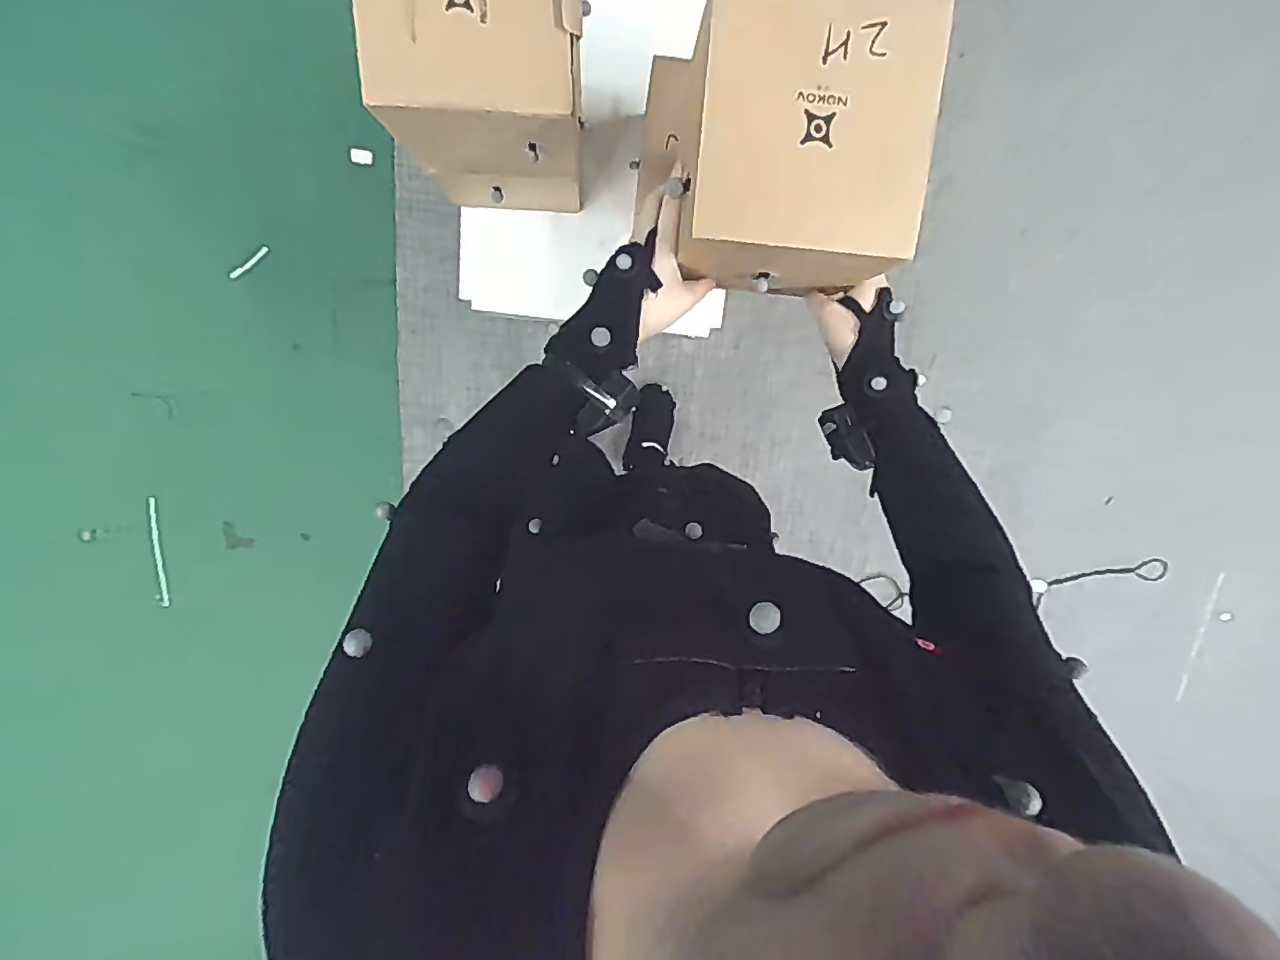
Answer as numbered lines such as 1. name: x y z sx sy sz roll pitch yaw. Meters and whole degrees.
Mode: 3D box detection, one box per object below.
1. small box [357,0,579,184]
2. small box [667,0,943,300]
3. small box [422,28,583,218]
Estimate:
1. small box: -0.148 -0.399 0.518 0.179 0.176 0.168 -1 103 -5
2. small box: 0.118 -0.259 0.461 0.168 0.176 0.179 4 99 -5
3. small box: -0.163 -0.436 0.676 0.179 0.176 0.168 1 104 -5
